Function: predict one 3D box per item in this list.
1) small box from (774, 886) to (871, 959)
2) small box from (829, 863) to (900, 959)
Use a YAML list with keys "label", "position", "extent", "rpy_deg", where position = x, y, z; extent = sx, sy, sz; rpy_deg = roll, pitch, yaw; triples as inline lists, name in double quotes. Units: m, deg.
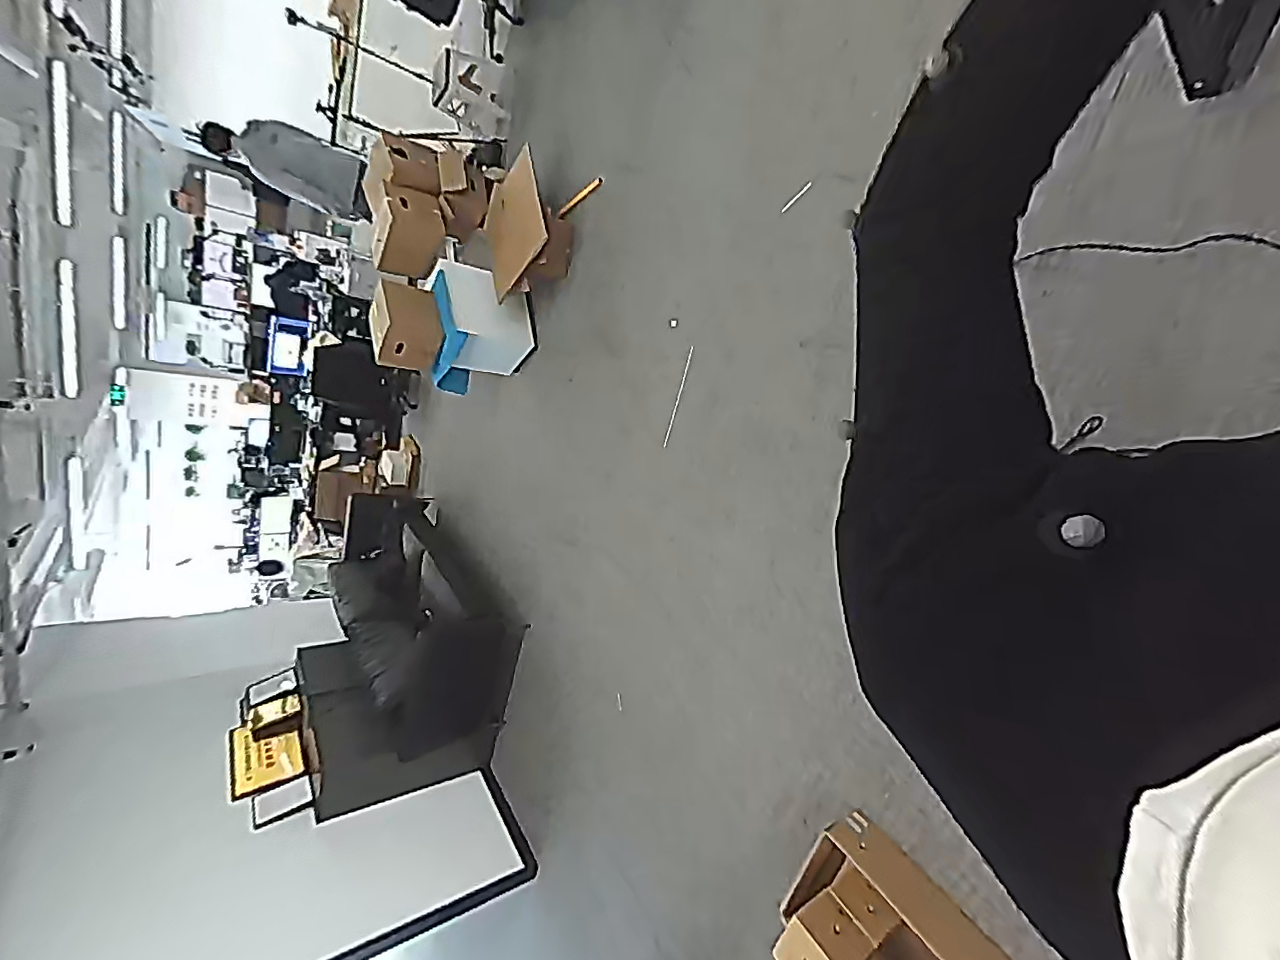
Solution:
- label: "small box"
  position: [0.518, 1.304, 1.523]
  extent: [0.168, 0.176, 0.179]
  rpy_deg: [39, 118, 45]
- label: "small box"
  position: [0.648, 1.307, 1.625]
  extent: [0.168, 0.176, 0.179]
  rpy_deg: [38, 117, 45]
